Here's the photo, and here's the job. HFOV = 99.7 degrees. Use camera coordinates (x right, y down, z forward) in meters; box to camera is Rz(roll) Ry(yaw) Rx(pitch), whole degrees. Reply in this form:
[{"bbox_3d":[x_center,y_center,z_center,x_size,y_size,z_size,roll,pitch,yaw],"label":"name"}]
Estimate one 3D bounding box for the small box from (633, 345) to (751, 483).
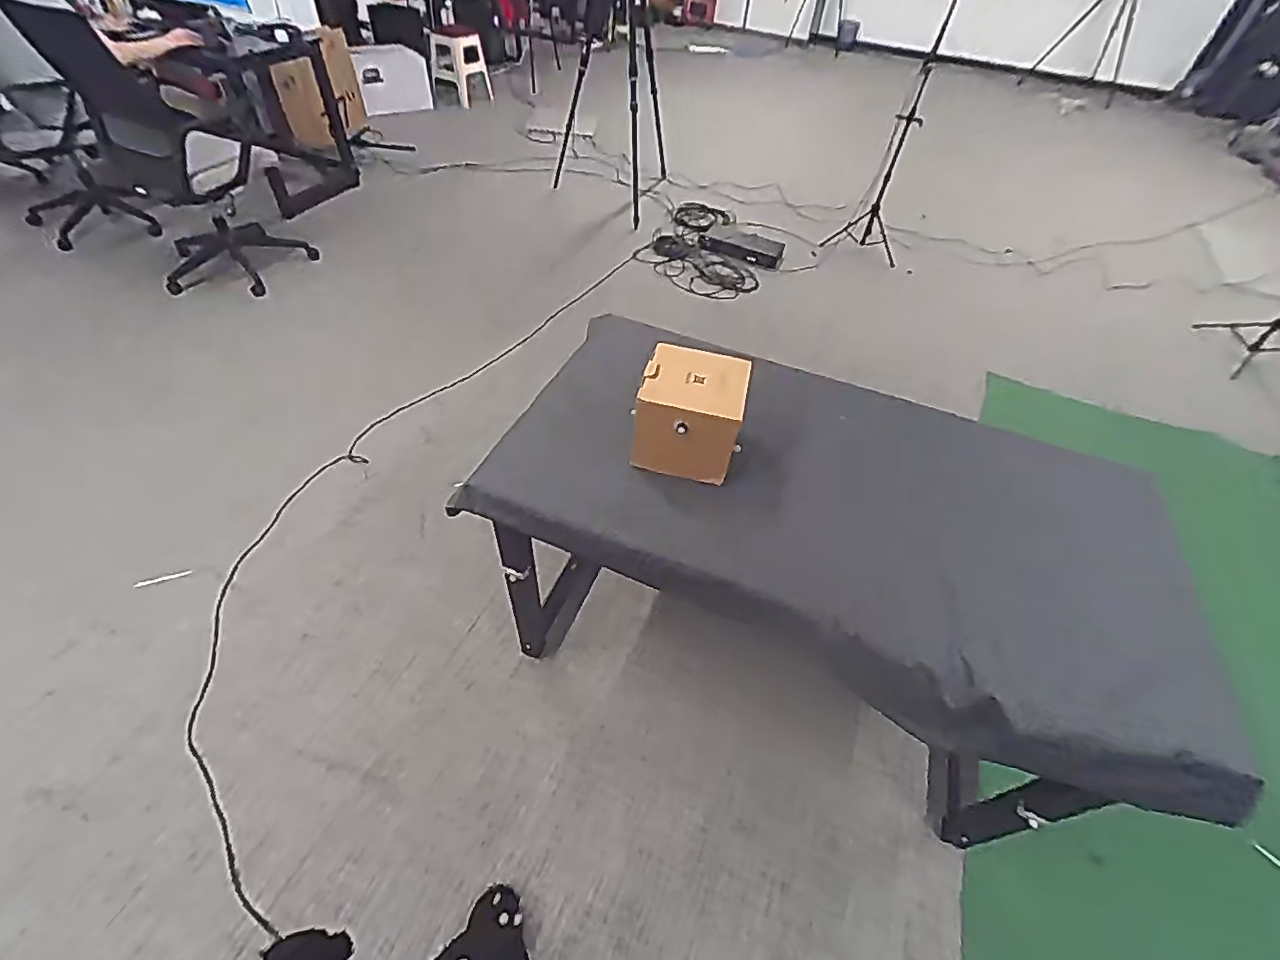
[{"bbox_3d":[0.091,-0.116,0.985,0.179,0.176,0.168,14,50,5],"label":"small box"}]
